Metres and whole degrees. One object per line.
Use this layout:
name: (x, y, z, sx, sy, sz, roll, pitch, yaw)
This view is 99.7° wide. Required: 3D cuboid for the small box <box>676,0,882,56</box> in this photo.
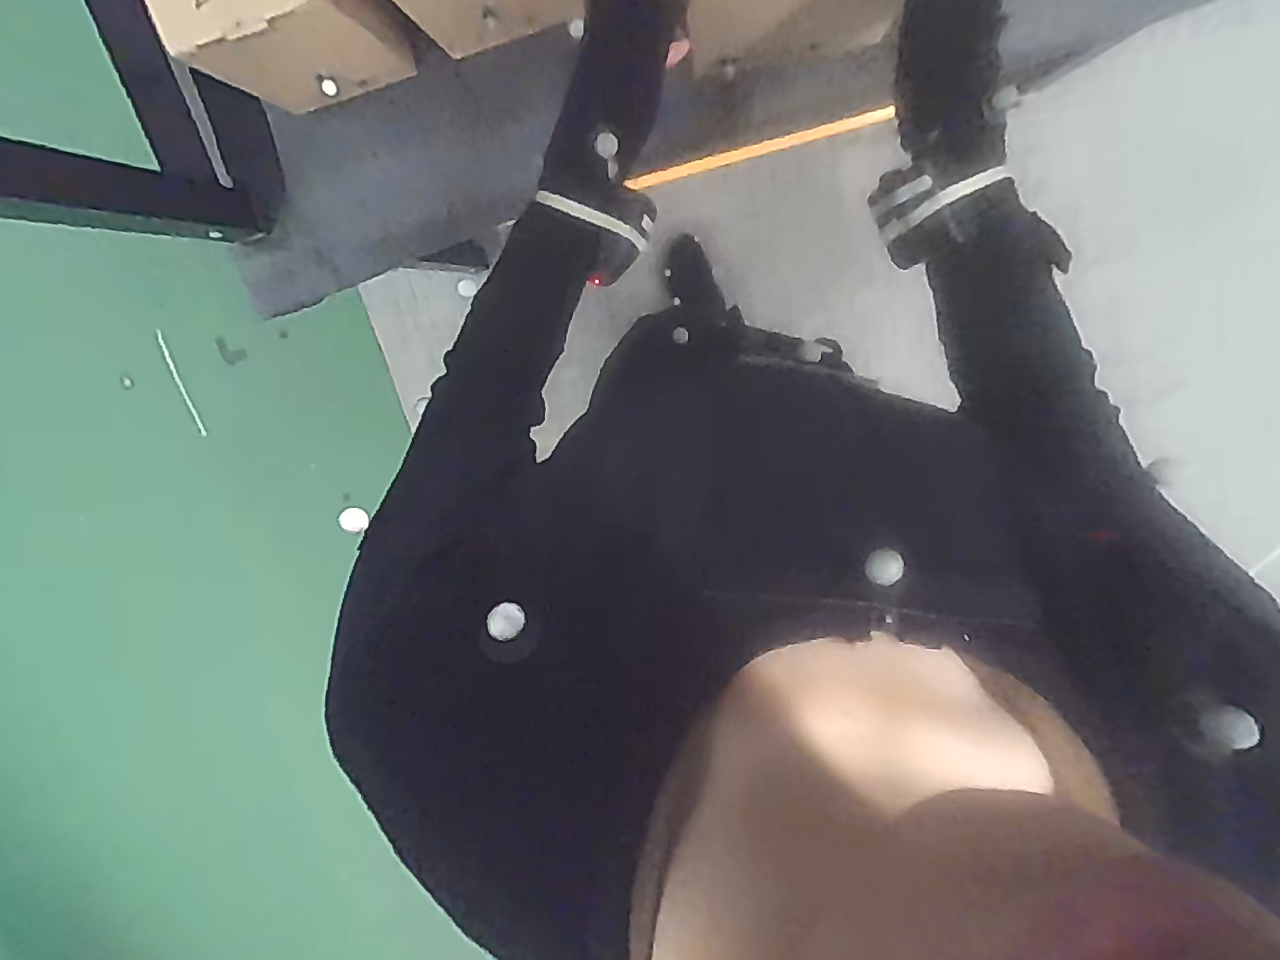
small box: (0.102, -0.440, 0.385, 0.168, 0.176, 0.179, -4, 108, 10)
